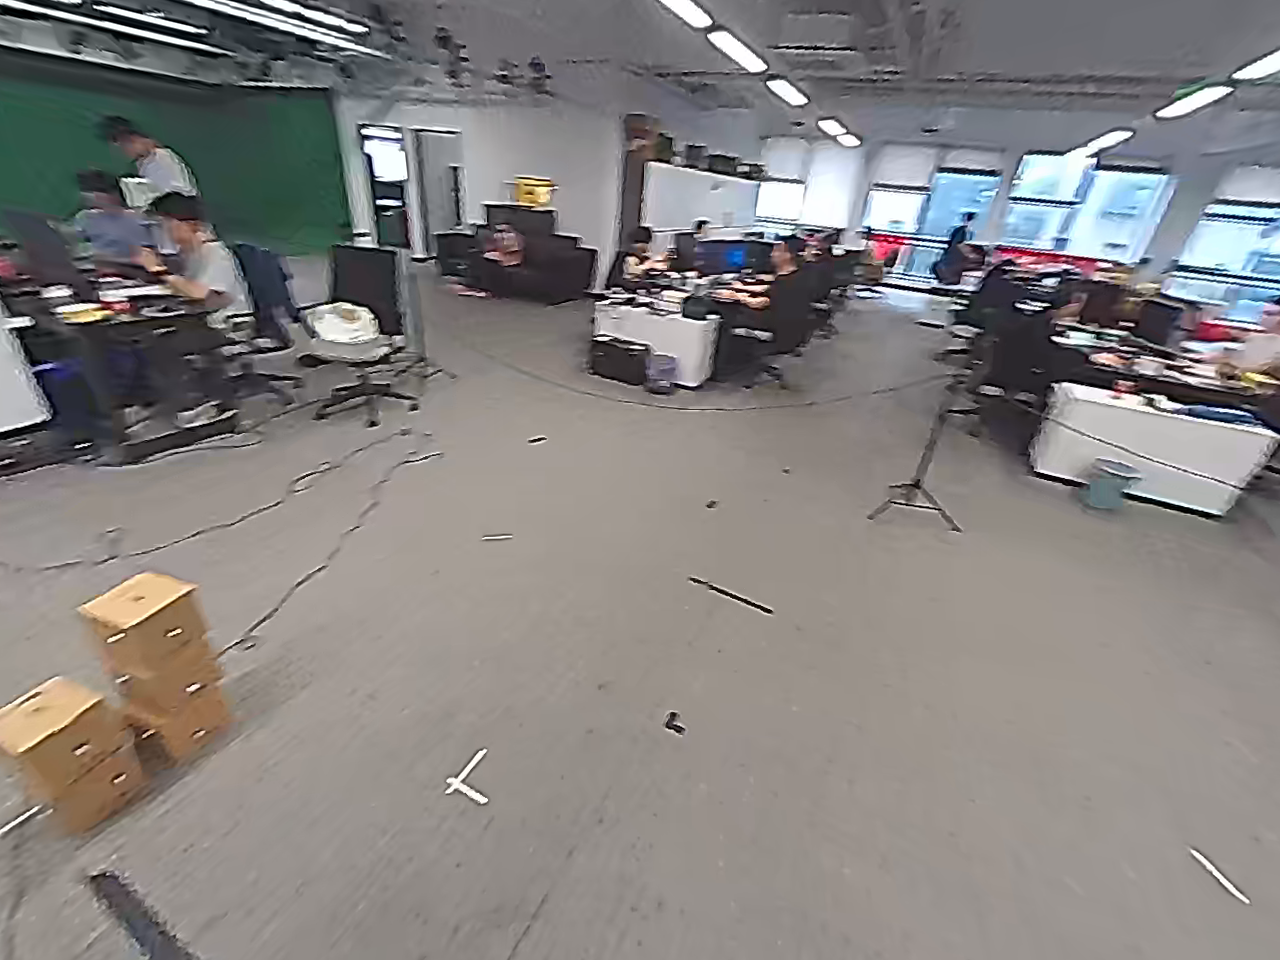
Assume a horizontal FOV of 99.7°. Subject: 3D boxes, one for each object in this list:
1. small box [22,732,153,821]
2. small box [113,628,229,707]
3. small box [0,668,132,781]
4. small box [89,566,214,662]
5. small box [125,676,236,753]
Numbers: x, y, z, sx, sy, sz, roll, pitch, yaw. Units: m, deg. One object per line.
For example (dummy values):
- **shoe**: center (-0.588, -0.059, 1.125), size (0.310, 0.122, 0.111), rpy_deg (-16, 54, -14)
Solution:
- **small box**: center (-1.447, 0.756, 1.425), size (0.179, 0.176, 0.168), rpy_deg (16, 30, 18)
- **small box**: center (-1.329, 0.514, 1.543), size (0.179, 0.176, 0.168), rpy_deg (16, 30, 14)
- **small box**: center (-1.436, 0.611, 1.349), size (0.179, 0.176, 0.168), rpy_deg (15, 29, 14)
- **small box**: center (-1.316, 0.366, 1.472), size (0.179, 0.176, 0.168), rpy_deg (13, 29, 12)
- **small box**: center (-1.351, 0.669, 1.600), size (0.179, 0.176, 0.168), rpy_deg (14, 30, 14)
